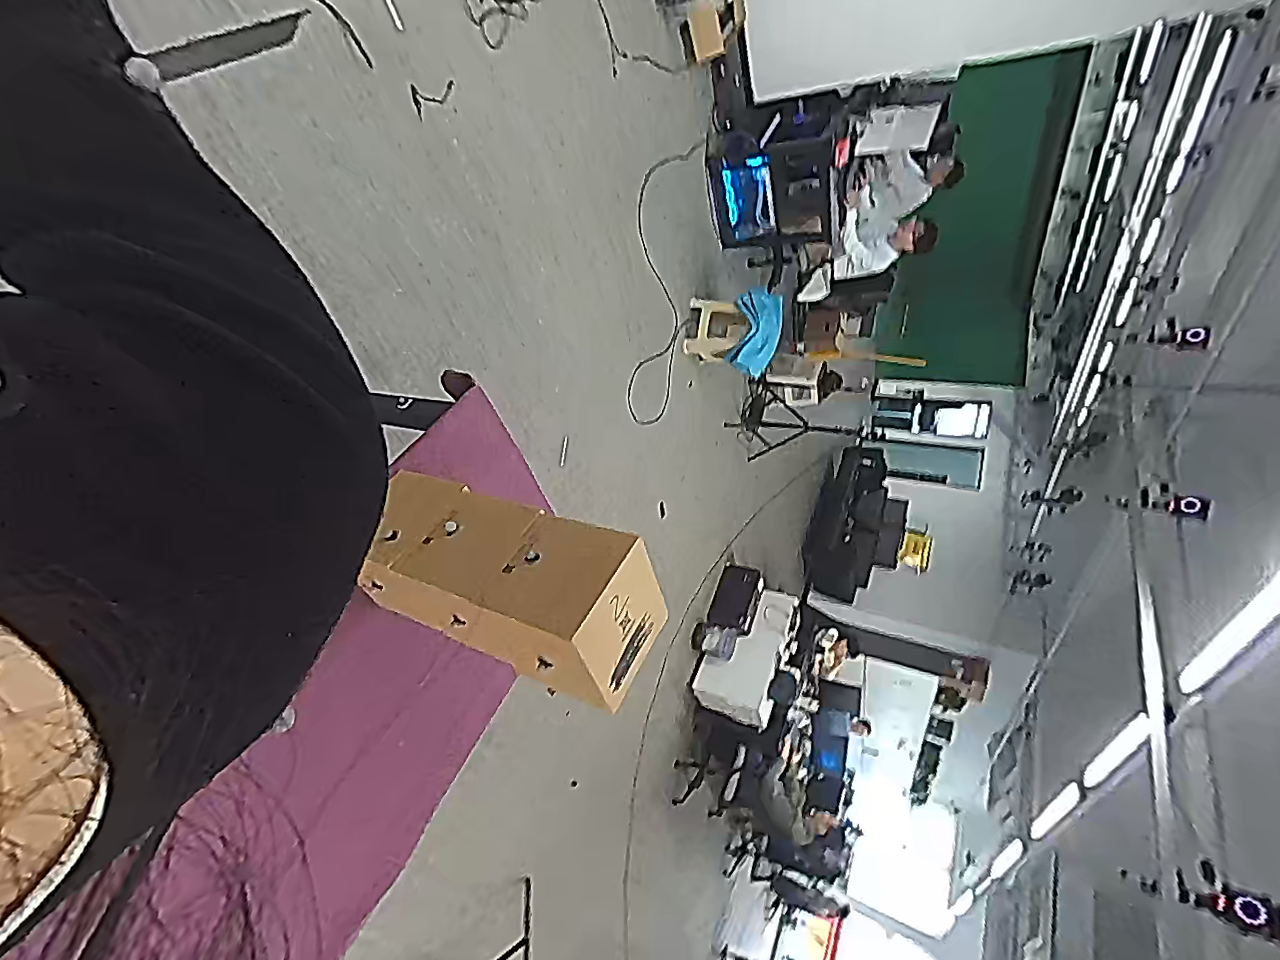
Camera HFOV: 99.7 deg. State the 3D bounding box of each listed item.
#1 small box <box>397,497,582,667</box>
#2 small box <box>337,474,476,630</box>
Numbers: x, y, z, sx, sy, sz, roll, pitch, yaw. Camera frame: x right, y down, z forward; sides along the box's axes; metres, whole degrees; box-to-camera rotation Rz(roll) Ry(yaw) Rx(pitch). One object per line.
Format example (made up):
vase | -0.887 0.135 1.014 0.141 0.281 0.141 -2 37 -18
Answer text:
small box | -0.221 0.146 0.819 0.168 0.176 0.179 -56 142 -36
small box | -0.363 0.112 0.895 0.179 0.176 0.168 -56 143 -37
